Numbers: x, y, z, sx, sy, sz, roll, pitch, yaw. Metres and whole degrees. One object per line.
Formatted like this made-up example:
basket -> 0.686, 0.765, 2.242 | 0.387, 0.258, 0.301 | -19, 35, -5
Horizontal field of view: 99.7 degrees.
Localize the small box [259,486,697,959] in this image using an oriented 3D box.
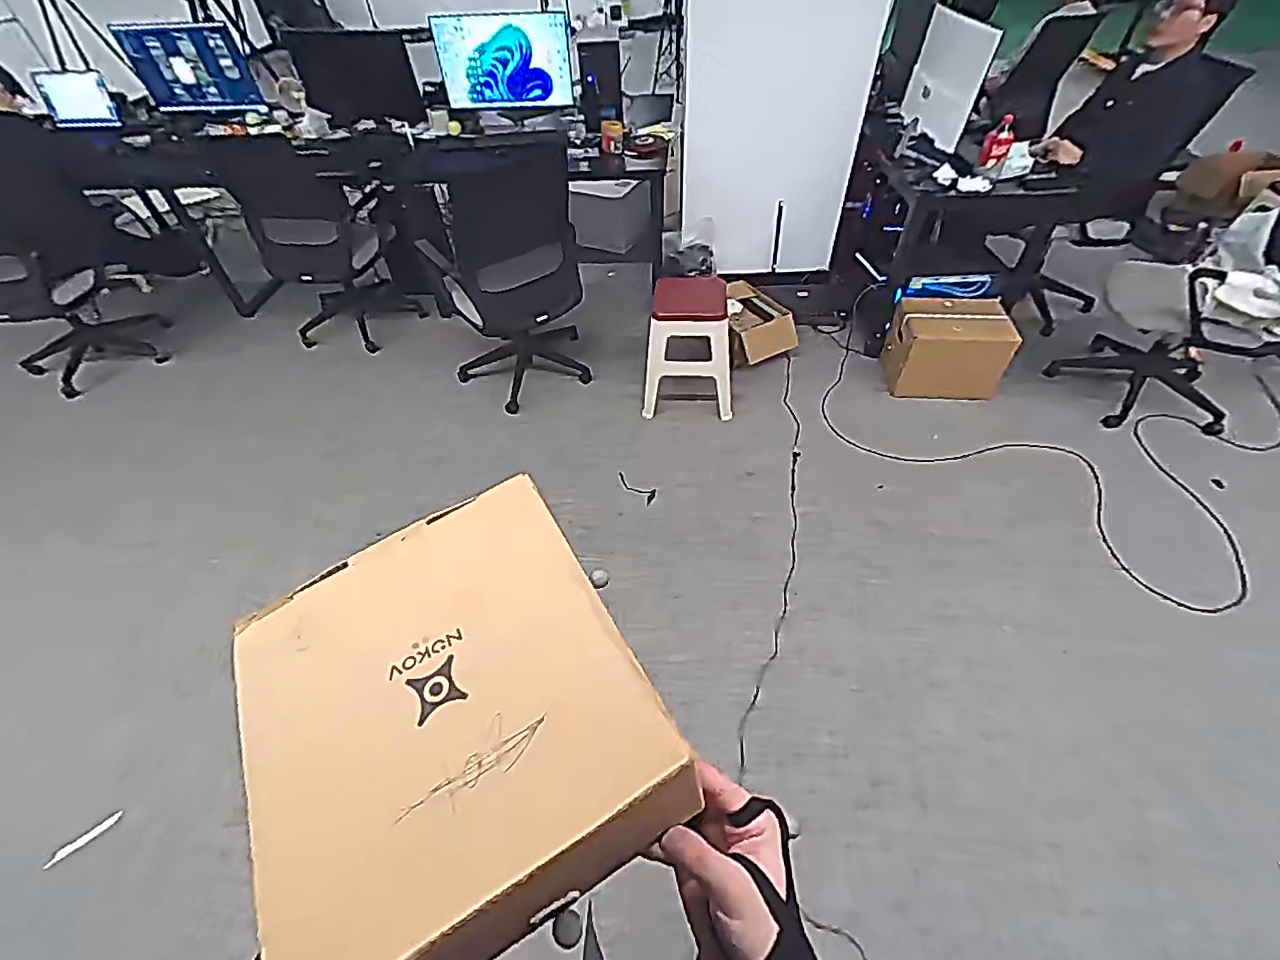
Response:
small box -> -0.081, 0.143, 0.318 | 0.168, 0.176, 0.179 | -28, 55, -13
